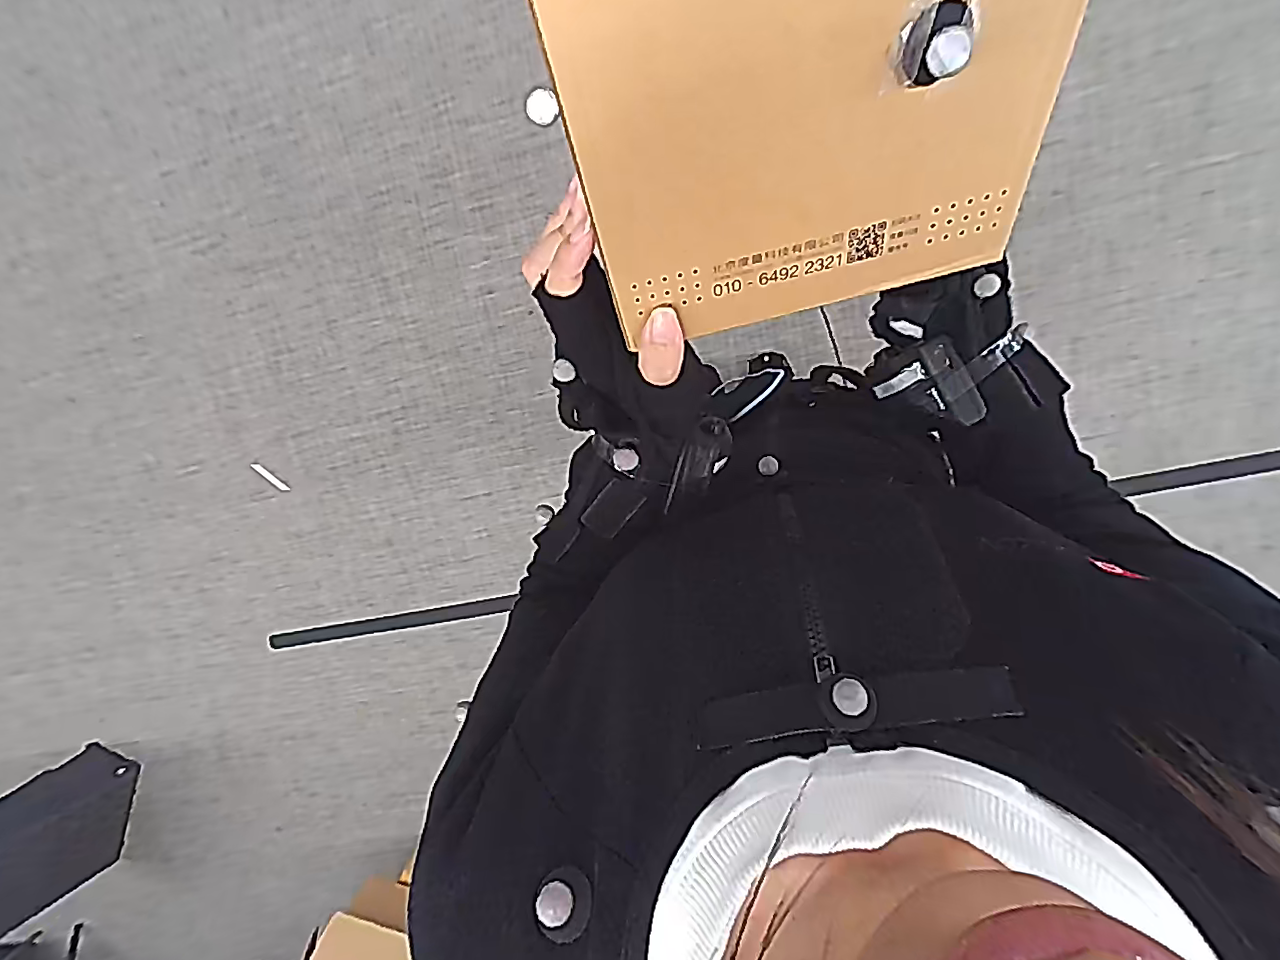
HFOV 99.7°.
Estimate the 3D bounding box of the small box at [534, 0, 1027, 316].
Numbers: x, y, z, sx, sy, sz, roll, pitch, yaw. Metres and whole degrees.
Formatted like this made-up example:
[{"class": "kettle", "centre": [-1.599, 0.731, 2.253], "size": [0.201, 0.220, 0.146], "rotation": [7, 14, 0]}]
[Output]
[{"class": "small box", "centre": [0.051, -0.196, 0.249], "size": [0.168, 0.179, 0.176], "rotation": [-12, 141, 5]}]
